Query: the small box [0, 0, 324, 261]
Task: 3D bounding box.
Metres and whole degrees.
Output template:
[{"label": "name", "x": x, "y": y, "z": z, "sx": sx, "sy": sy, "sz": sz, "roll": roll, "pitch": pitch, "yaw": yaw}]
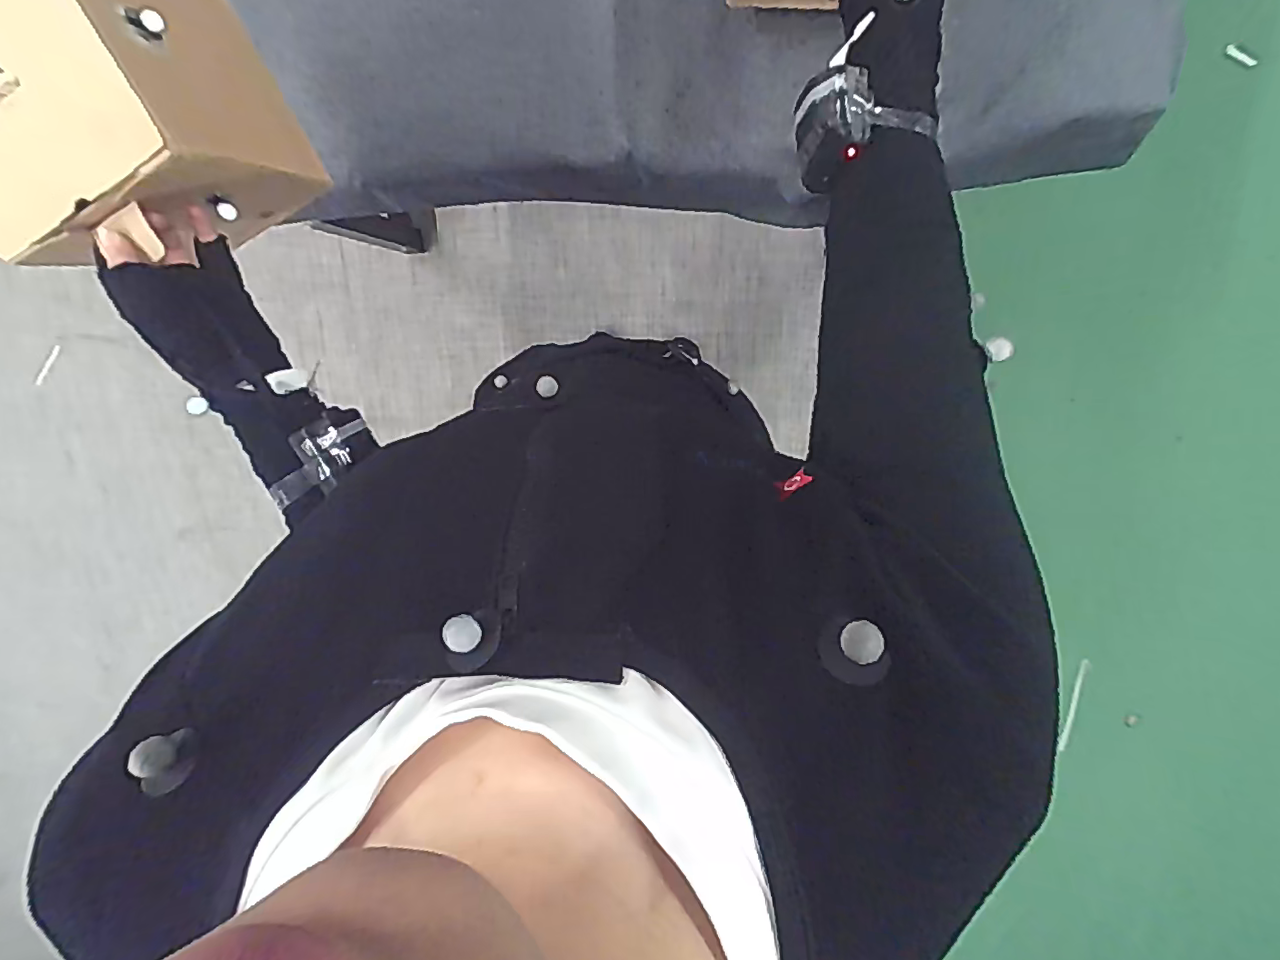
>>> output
[{"label": "small box", "x": -0.385, "y": -0.283, "z": 0.399, "sx": 0.168, "sy": 0.176, "sz": 0.179, "roll": -22, "pitch": 107, "yaw": 14}]
